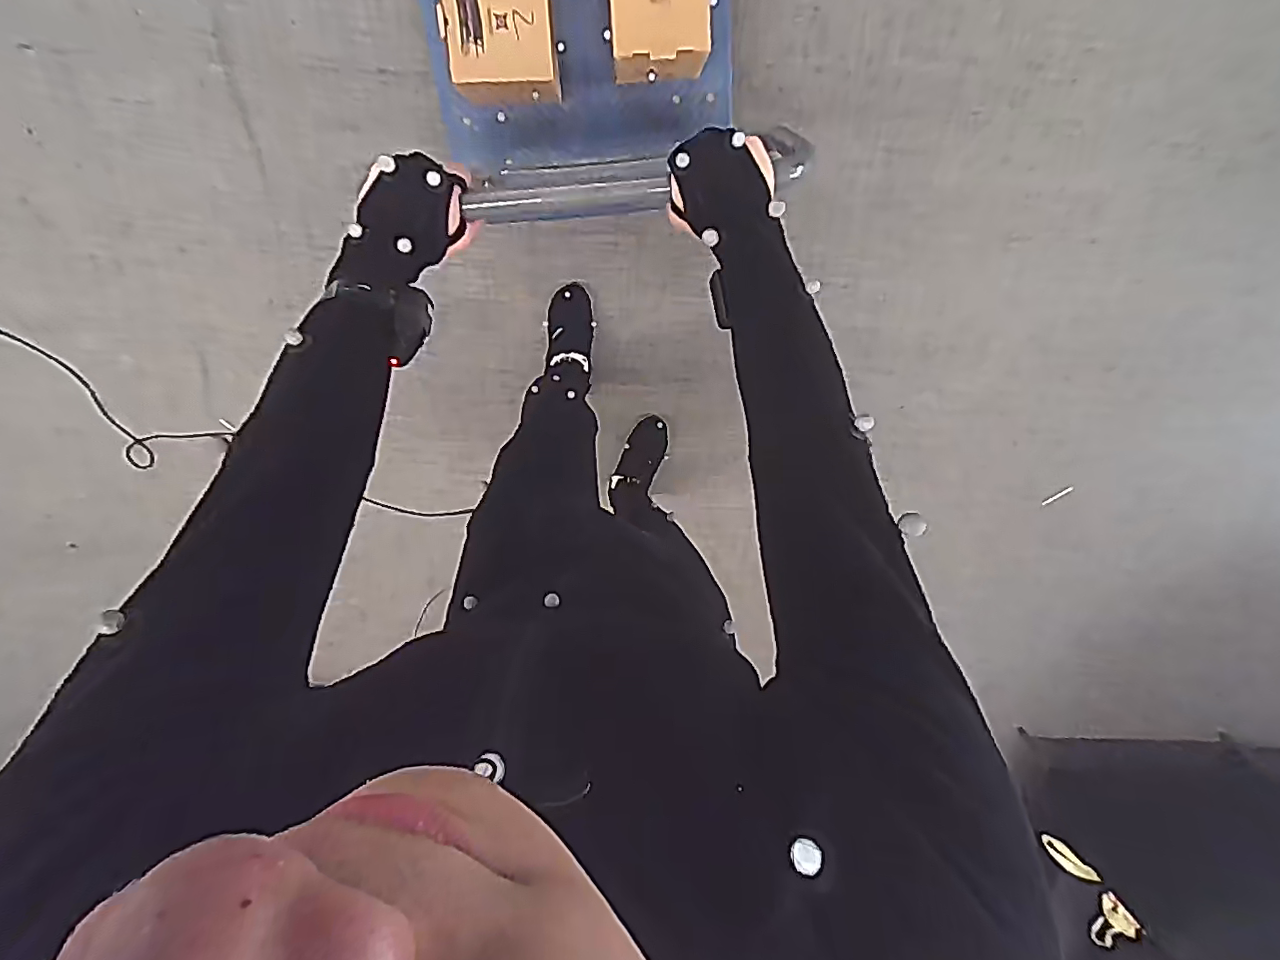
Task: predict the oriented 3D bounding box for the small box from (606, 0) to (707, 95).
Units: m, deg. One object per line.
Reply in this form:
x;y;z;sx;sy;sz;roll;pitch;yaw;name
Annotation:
0.026;-0.829;0.980;0.168;0.176;0.179;-5;114;0;small box
